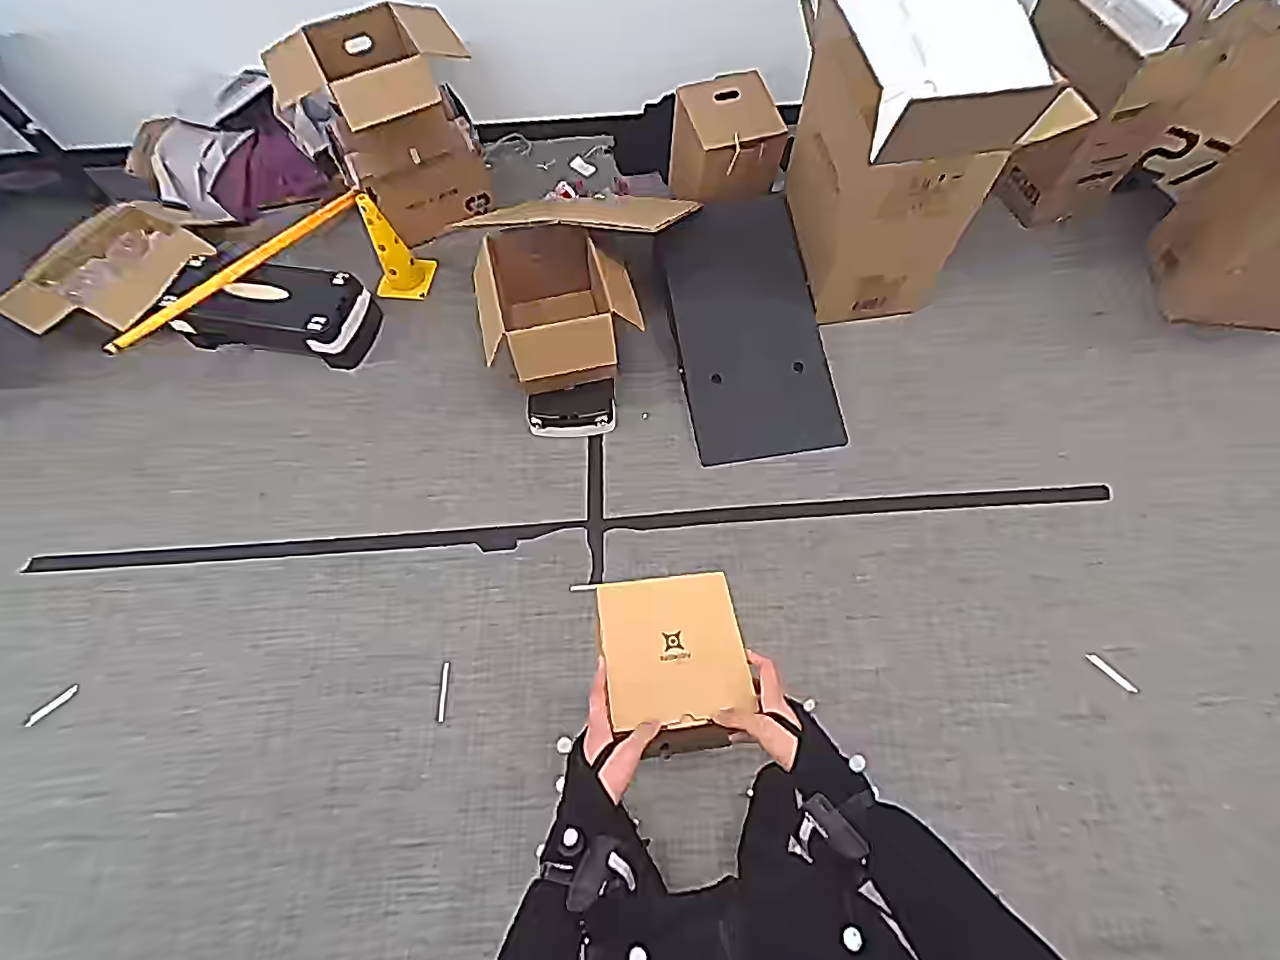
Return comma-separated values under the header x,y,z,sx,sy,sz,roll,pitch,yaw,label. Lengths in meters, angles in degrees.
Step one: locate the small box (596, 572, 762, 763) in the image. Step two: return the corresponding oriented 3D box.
x,y,z,sx,sy,sz,roll,pitch,yaw,label
0.034,0.238,0.684,0.168,0.176,0.179,-4,54,-8,small box
